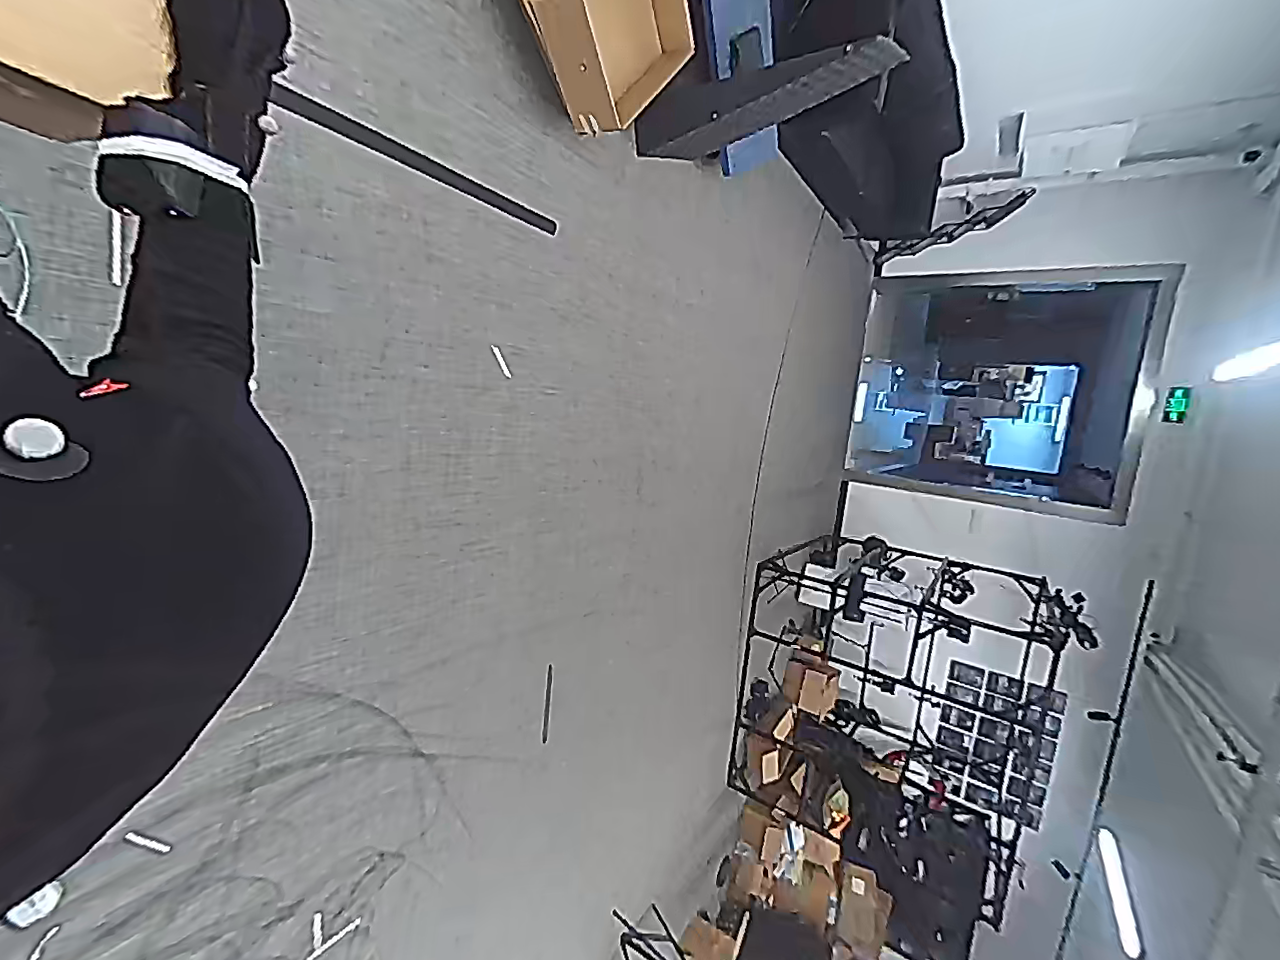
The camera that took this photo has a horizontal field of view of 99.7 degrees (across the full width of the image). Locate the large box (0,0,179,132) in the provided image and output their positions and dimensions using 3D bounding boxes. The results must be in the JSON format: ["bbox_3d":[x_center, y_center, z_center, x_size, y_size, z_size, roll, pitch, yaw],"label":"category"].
[{"bbox_3d":[-0.546,-0.454,0.290,0.408,0.320,0.320,0,108,-58],"label":"large box"}]
